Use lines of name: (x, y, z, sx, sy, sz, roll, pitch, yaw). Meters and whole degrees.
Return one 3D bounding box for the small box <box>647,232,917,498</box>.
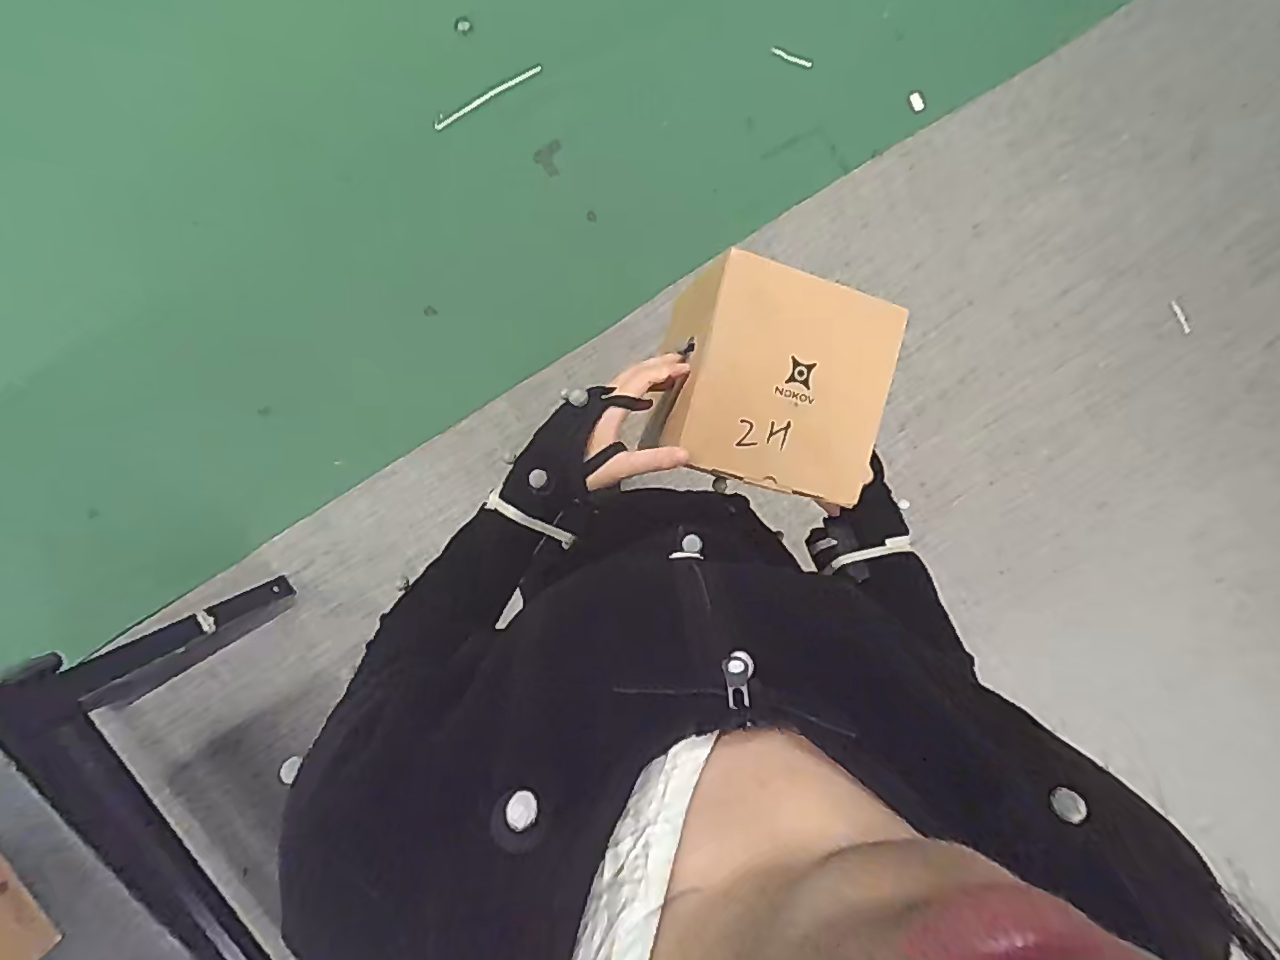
small box: (0.115, -0.092, 0.506, 0.168, 0.176, 0.179, 14, 91, -12)
